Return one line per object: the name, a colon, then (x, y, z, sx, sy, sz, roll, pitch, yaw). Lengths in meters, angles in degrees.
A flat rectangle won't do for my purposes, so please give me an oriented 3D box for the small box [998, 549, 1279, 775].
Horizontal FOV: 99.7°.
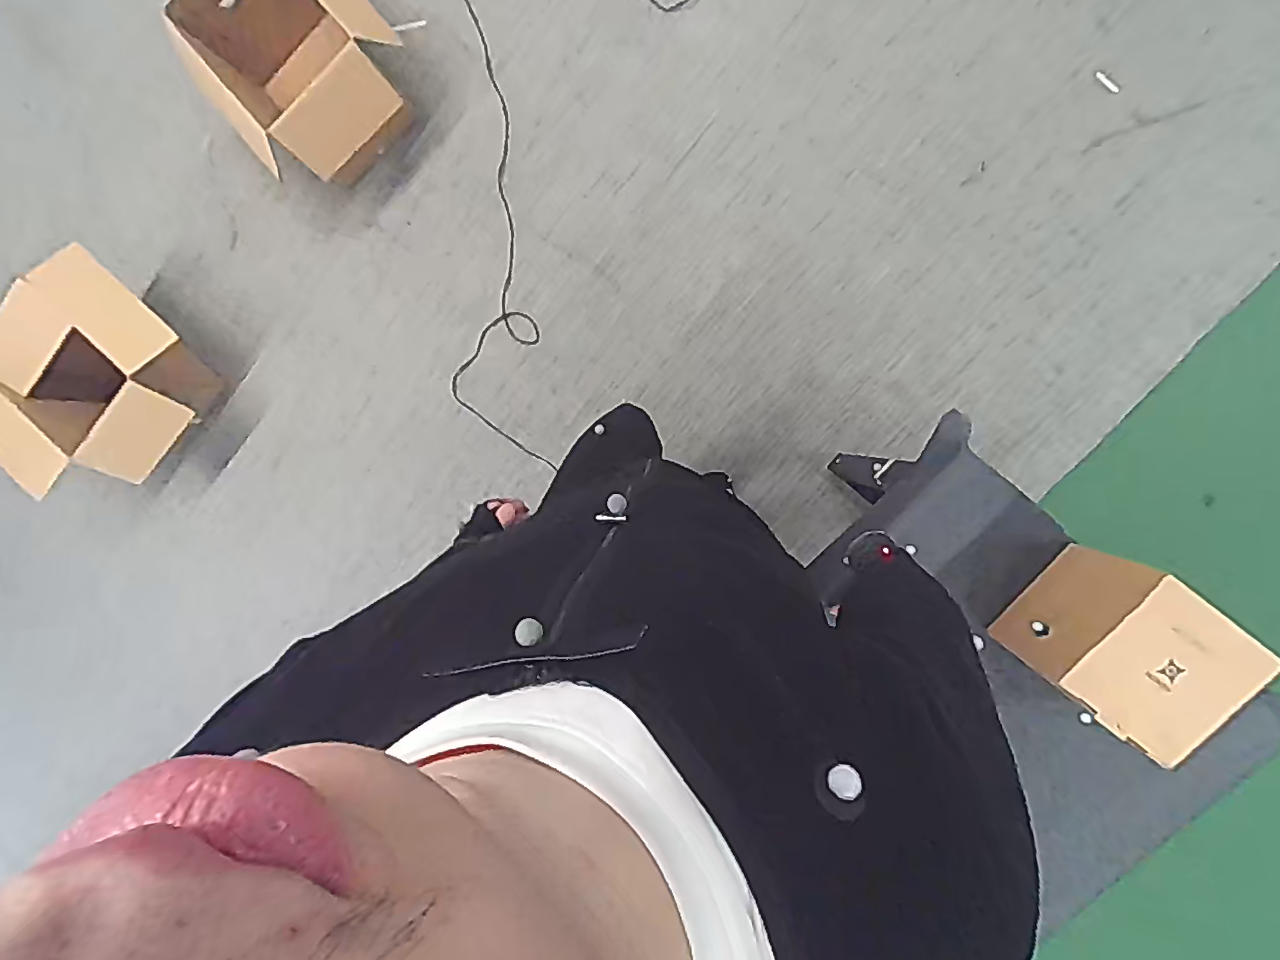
small box: (0.601, 0.214, 0.684, 0.168, 0.176, 0.179, 38, 97, 2)
